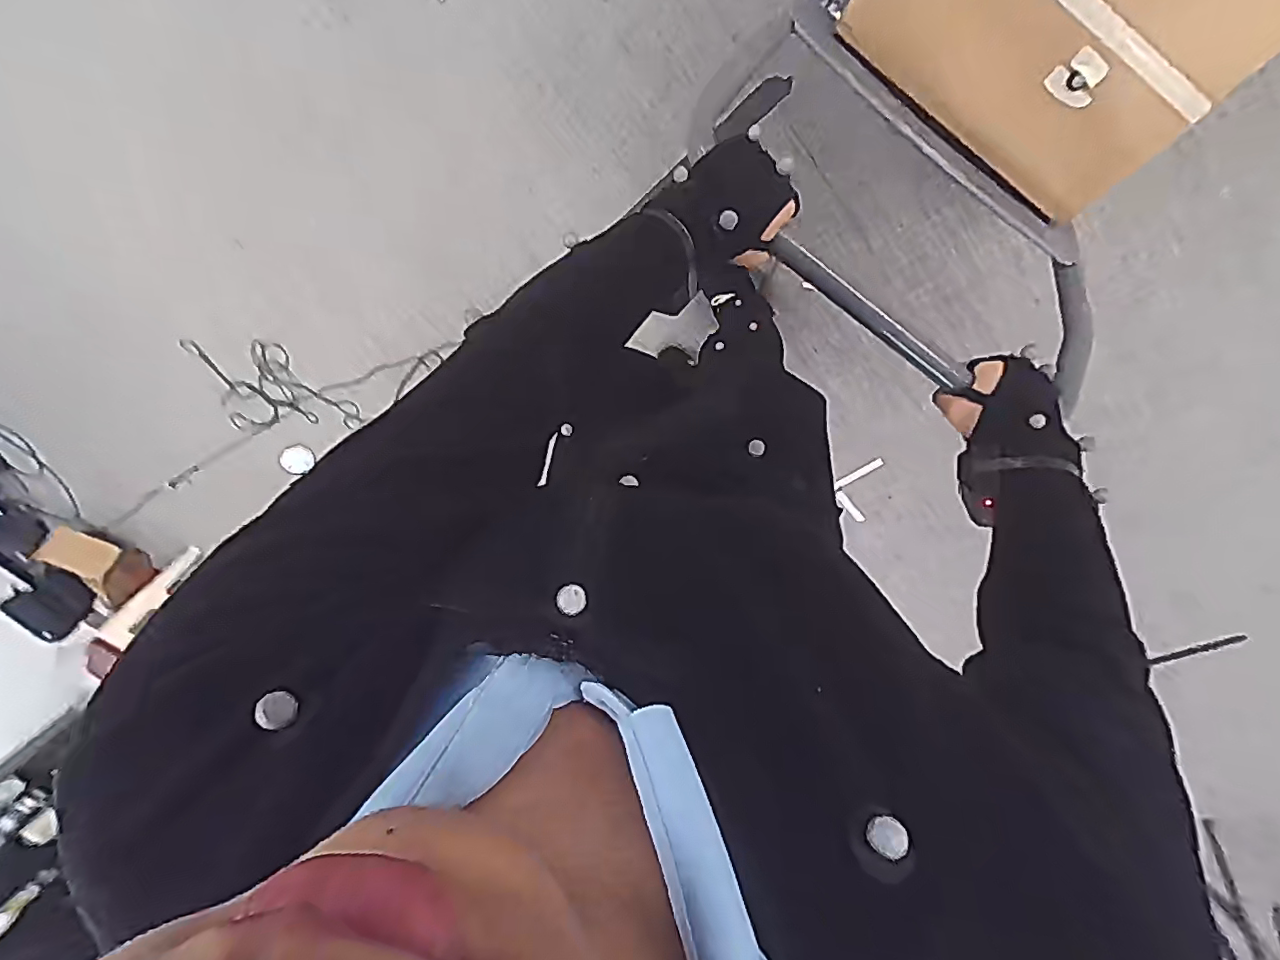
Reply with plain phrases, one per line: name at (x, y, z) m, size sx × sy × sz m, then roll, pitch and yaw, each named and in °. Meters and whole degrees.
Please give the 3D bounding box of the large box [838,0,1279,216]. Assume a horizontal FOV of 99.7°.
large box at (0.528, -0.641, 0.700) m, size 0.408 × 0.320 × 0.320 m, roll 34°, pitch 140°, yaw -8°
